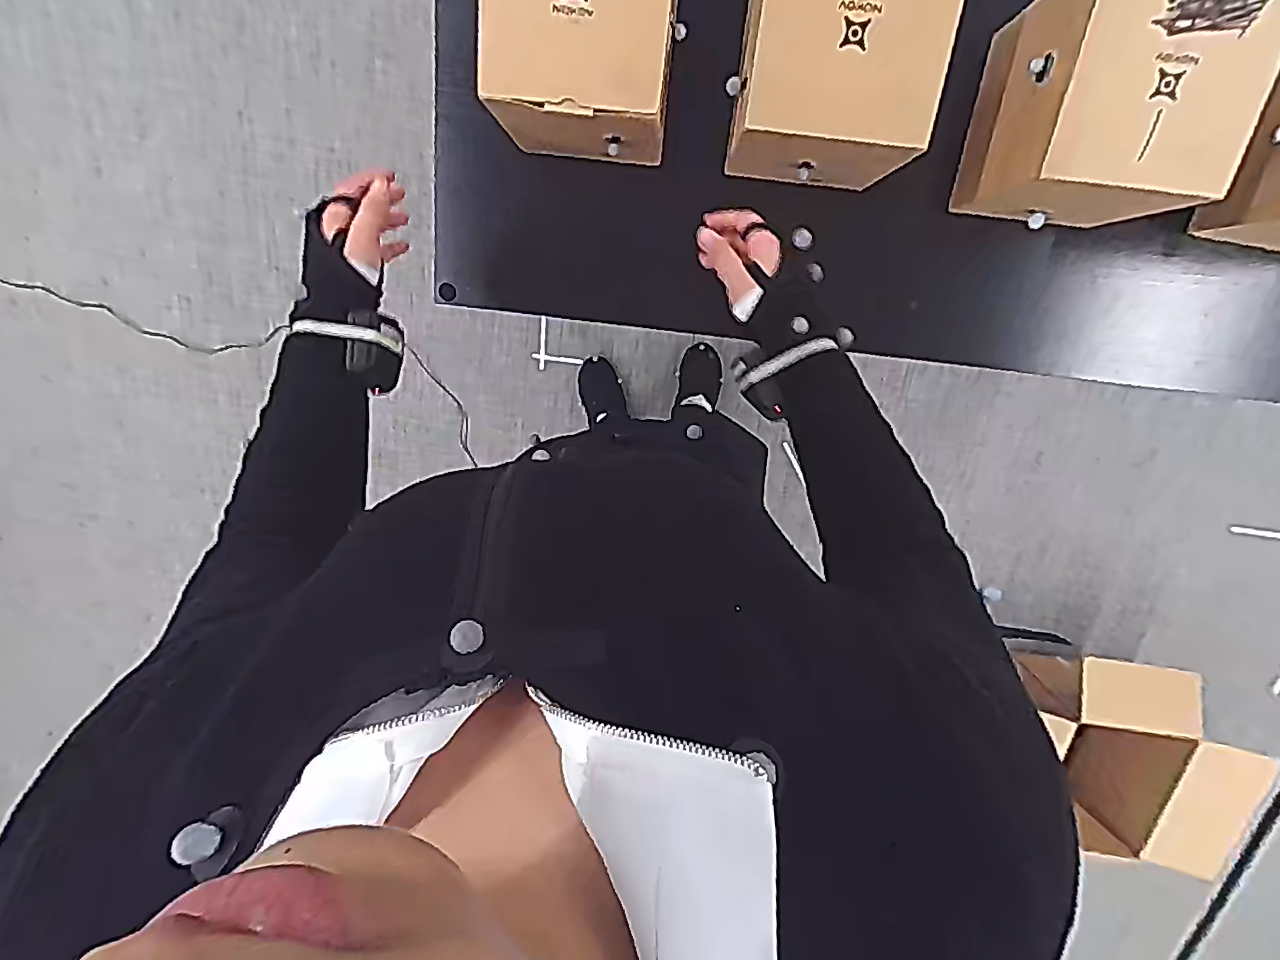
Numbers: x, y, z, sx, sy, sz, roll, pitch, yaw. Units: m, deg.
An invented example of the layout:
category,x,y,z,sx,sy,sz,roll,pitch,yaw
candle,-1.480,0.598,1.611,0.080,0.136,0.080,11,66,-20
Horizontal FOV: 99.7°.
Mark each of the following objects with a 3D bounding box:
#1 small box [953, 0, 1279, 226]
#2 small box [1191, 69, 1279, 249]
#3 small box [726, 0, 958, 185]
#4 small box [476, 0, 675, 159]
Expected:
category,x,y,z,sx,sy,sz,roll,pitch,yaw
small box,0.445,-0.366,0.531,0.168,0.176,0.179,7,108,1
small box,0.724,-0.327,0.530,0.179,0.176,0.168,10,107,1
small box,0.183,-0.408,0.530,0.168,0.176,0.179,7,107,0
small box,-0.054,-0.439,0.533,0.168,0.176,0.179,6,106,0
